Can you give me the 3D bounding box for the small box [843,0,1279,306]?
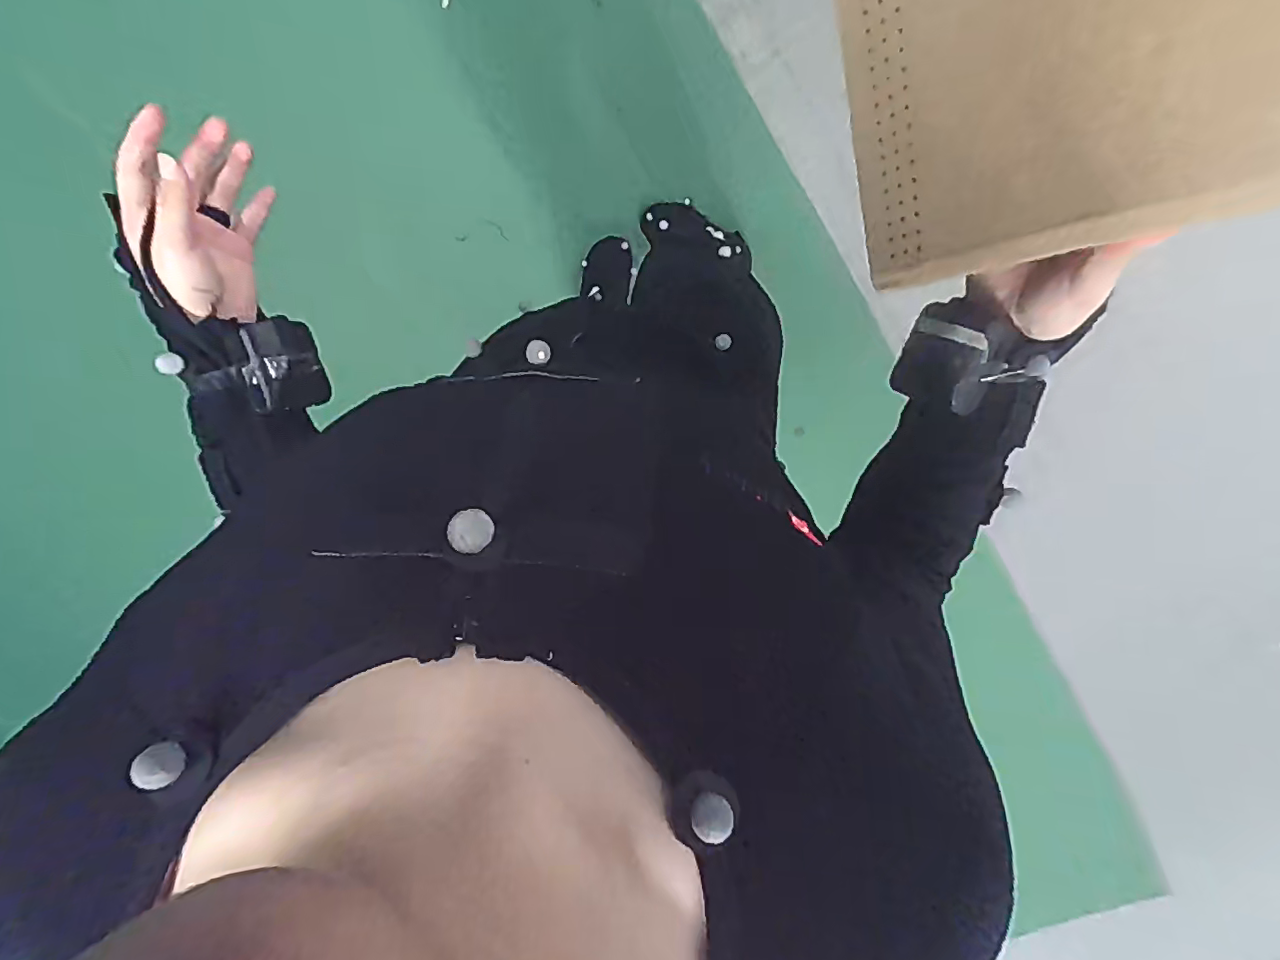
[{"bbox_3d":[0.194,-0.176,0.187,0.168,0.176,0.179,-20,105,-19],"label":"small box"}]
